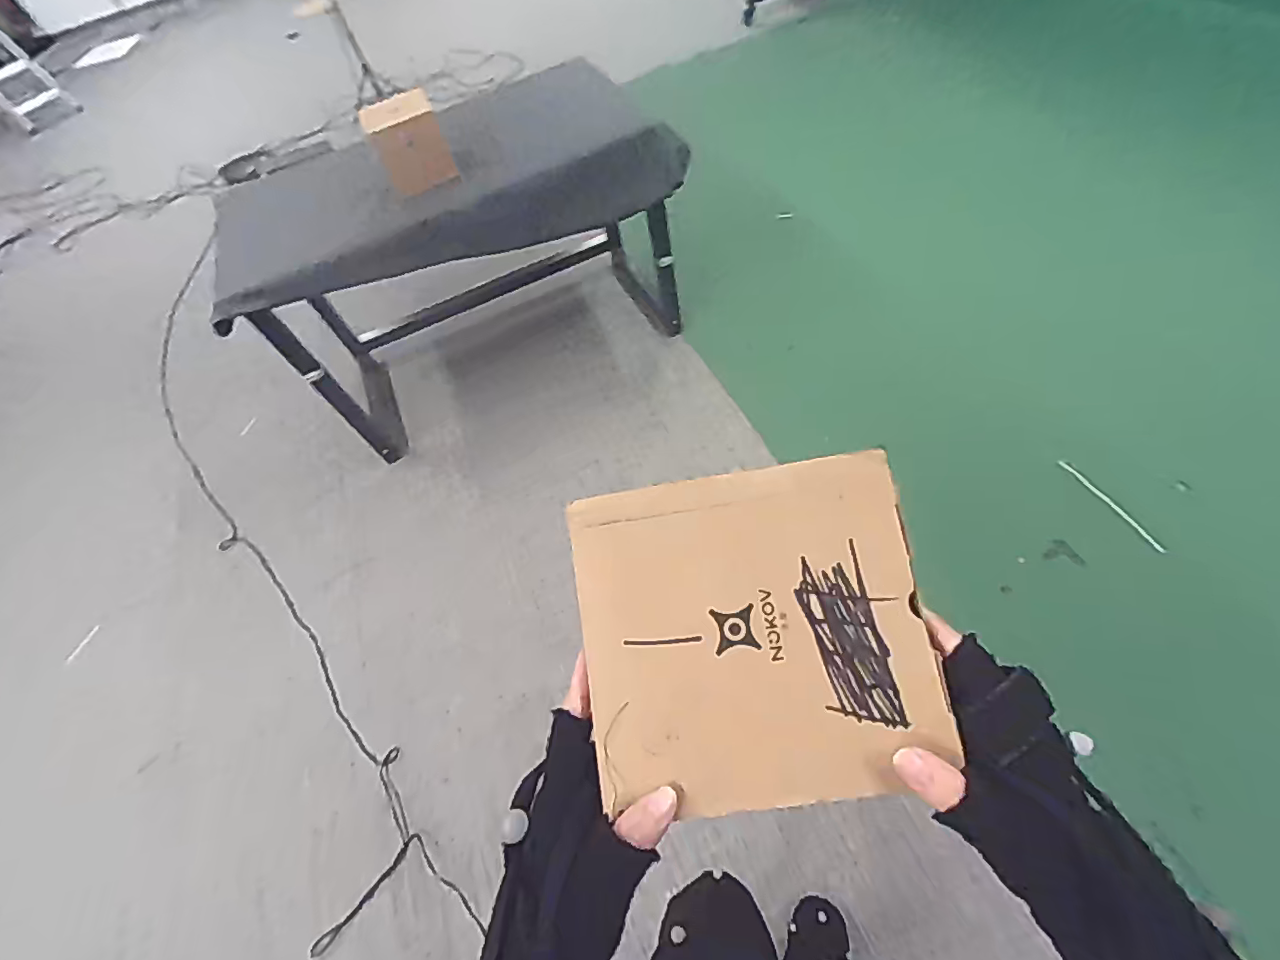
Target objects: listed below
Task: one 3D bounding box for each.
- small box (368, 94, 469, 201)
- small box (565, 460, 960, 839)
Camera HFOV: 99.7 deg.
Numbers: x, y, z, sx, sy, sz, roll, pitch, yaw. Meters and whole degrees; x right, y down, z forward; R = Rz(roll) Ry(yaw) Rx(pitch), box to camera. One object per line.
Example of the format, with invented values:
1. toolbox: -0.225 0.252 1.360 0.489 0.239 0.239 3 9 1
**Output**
1. small box: -0.581 -0.871 1.426 0.179 0.176 0.168 -25 57 -7
2. small box: 0.061 0.099 0.358 0.179 0.176 0.168 -12 76 1
